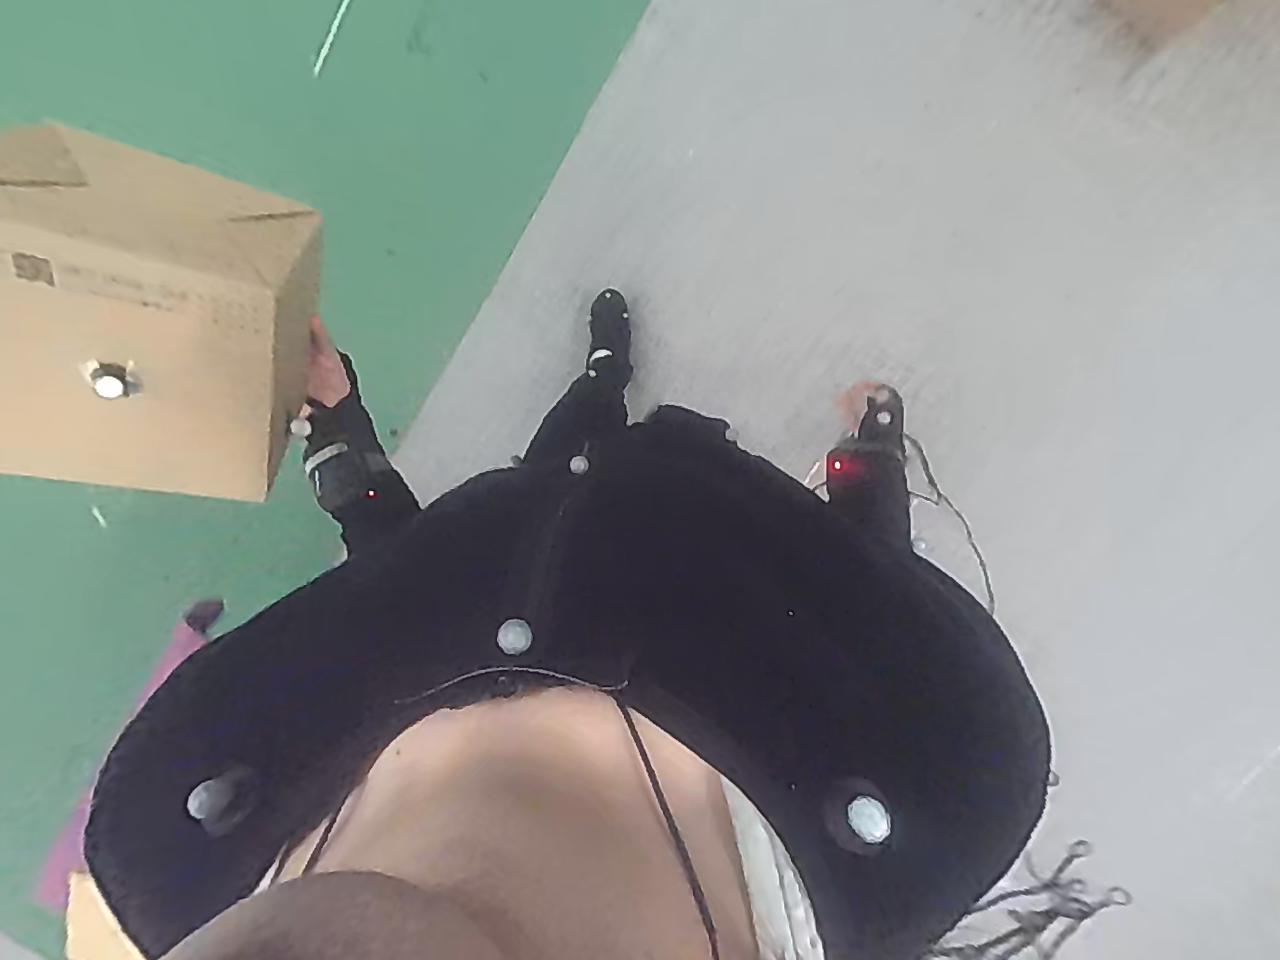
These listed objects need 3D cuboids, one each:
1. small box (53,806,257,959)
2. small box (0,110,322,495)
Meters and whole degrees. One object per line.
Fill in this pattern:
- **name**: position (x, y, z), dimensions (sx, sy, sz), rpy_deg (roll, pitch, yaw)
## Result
- **small box**: position (-0.747, 0.654, 0.848), dimensions (0.179, 0.176, 0.168), rpy_deg (15, 101, 1)
- **small box**: position (-0.330, -0.117, 0.367), dimensions (0.168, 0.179, 0.176), rpy_deg (12, 125, -28)
